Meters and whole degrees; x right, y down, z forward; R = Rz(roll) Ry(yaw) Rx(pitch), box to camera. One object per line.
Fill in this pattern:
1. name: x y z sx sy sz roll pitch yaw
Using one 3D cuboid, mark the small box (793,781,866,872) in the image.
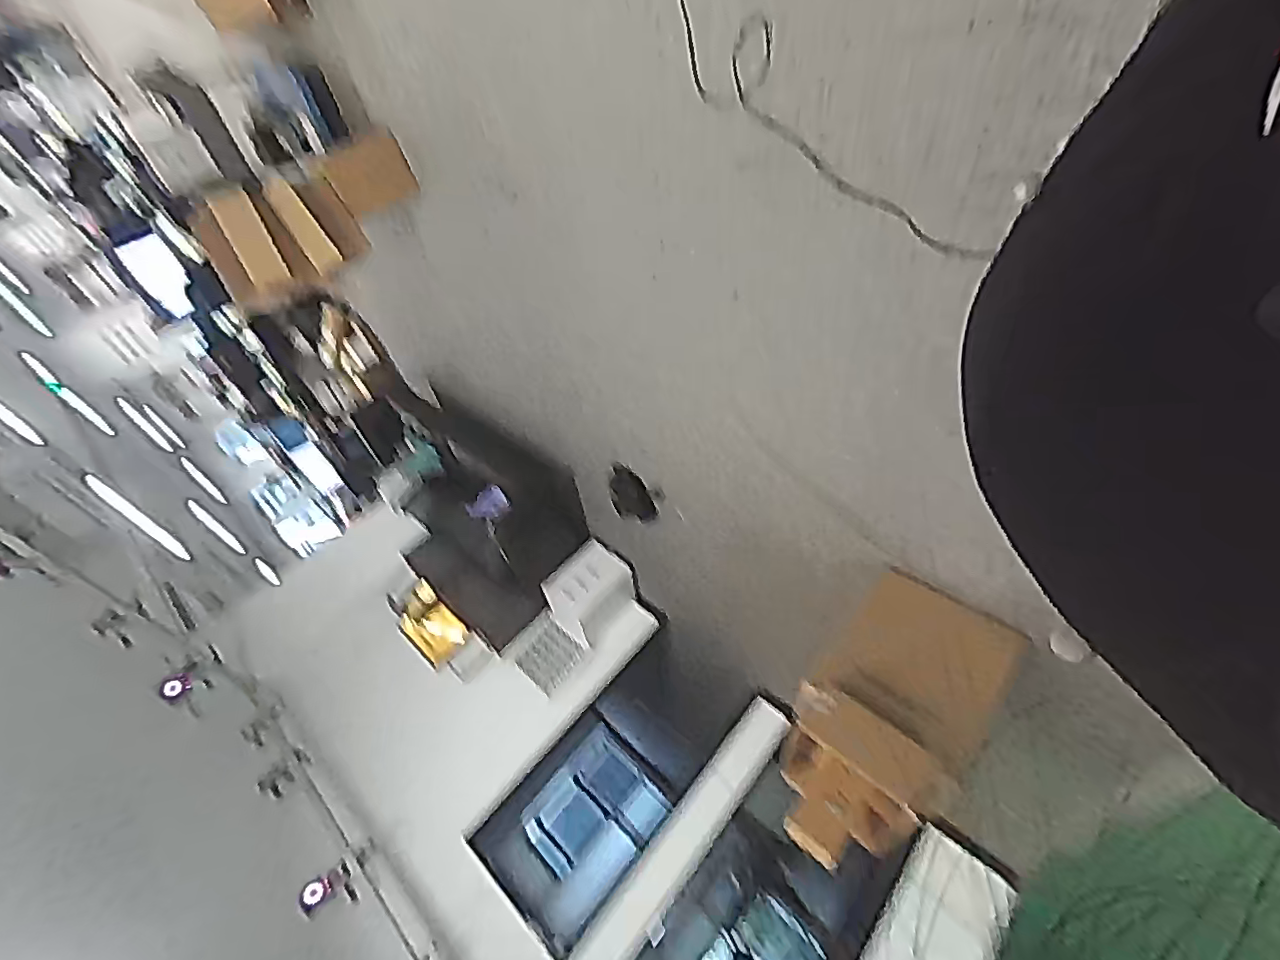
1. small box: 0.620 1.135 1.775 0.168 0.176 0.179 27 146 34
